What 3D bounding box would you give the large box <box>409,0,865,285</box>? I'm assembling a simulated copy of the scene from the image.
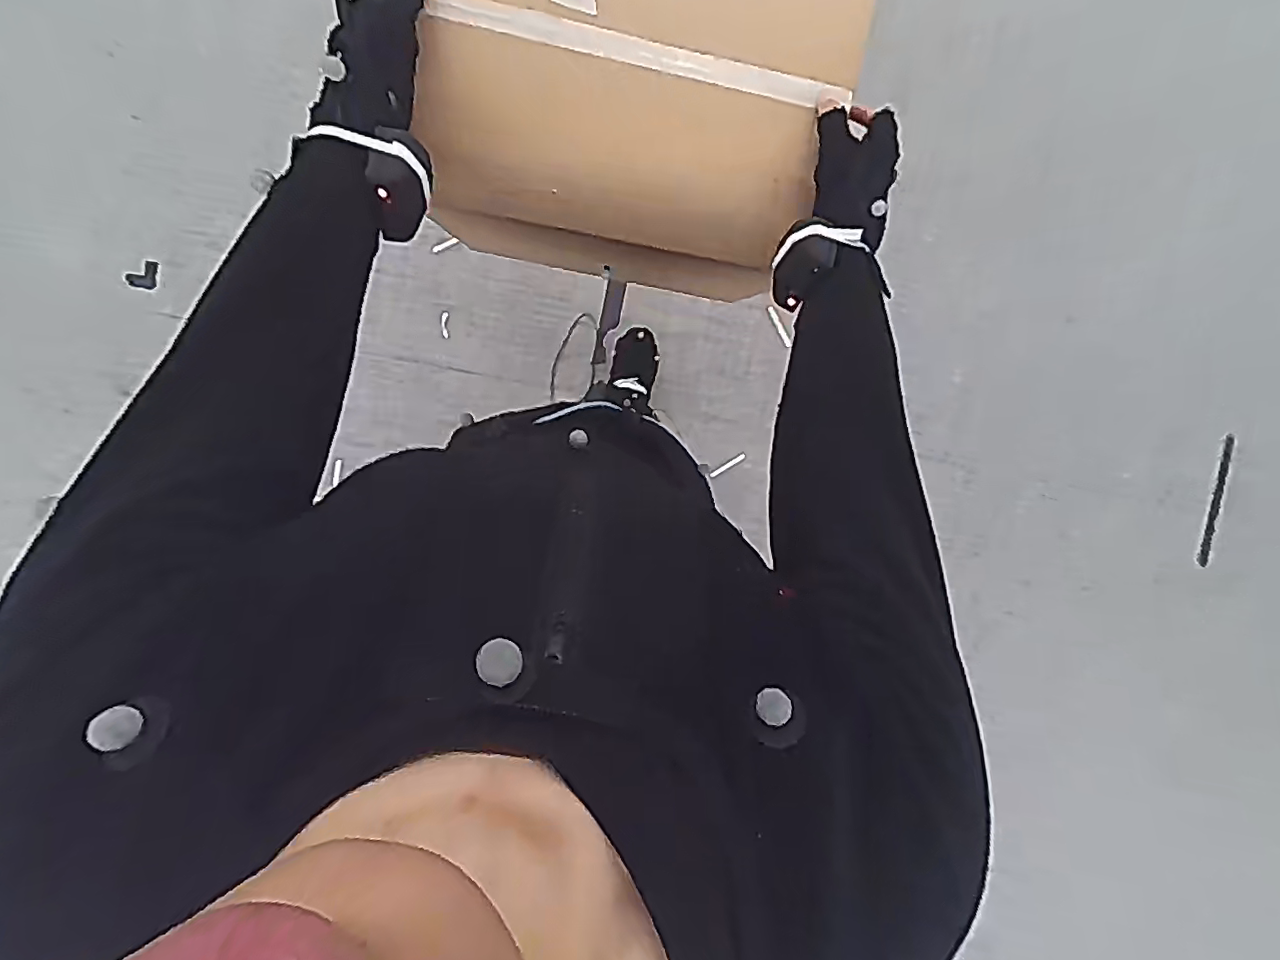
[{"bbox_3d":[-0.009,-0.432,0.639,0.408,0.320,0.320,8,103,-7],"label":"large box"}]
